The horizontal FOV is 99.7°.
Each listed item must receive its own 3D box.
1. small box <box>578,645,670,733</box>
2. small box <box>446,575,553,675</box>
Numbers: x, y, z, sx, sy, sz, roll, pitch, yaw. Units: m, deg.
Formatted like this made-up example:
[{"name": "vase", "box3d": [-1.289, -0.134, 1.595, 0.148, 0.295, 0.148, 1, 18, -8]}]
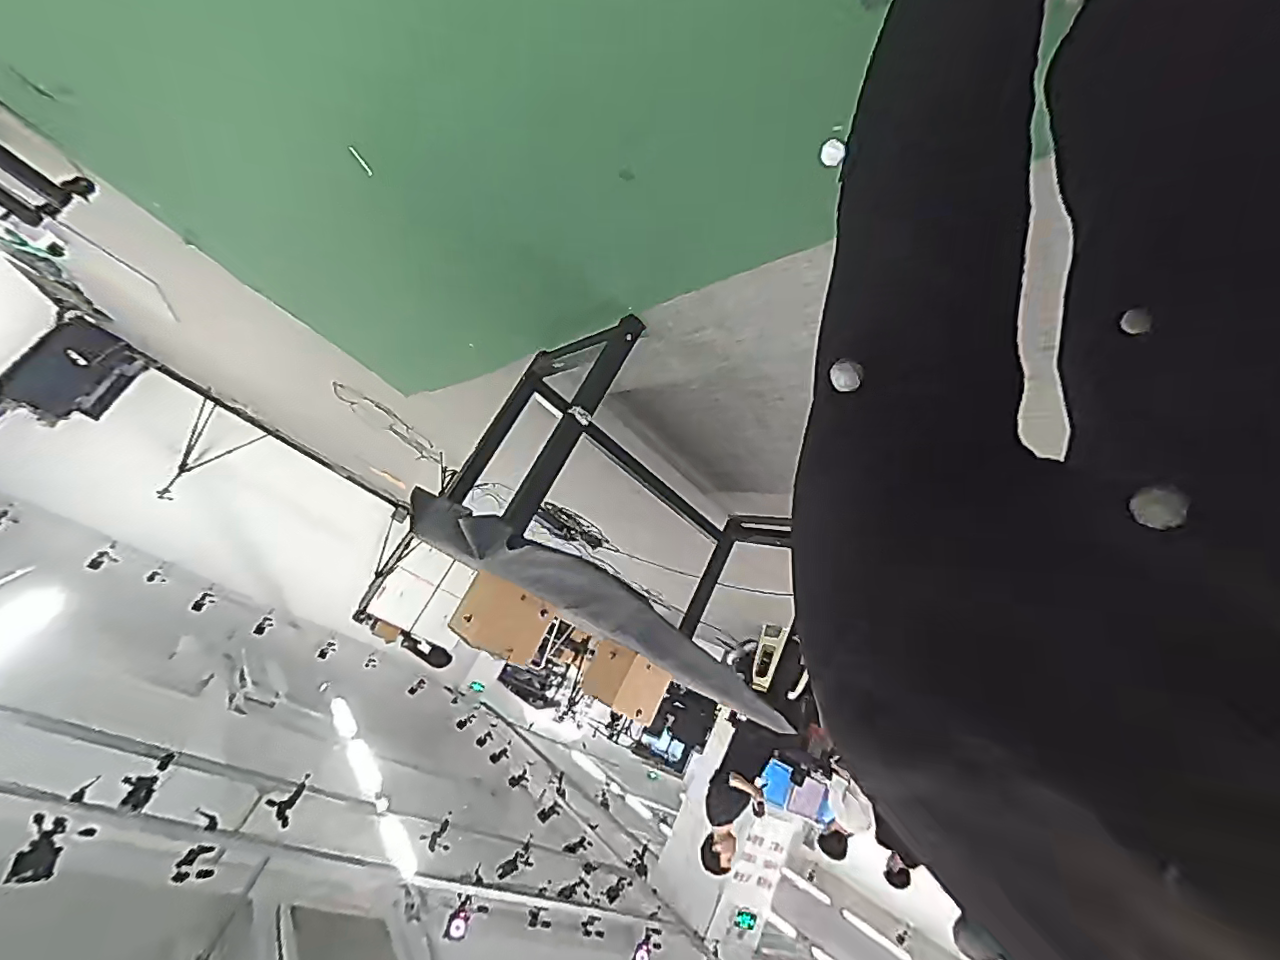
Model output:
[{"name": "small box", "box3d": [-0.044, 0.601, 1.578, 0.168, 0.176, 0.179, 40, 159, -31]}, {"name": "small box", "box3d": [-0.340, 0.349, 1.331, 0.168, 0.176, 0.179, 39, 160, -31]}]
